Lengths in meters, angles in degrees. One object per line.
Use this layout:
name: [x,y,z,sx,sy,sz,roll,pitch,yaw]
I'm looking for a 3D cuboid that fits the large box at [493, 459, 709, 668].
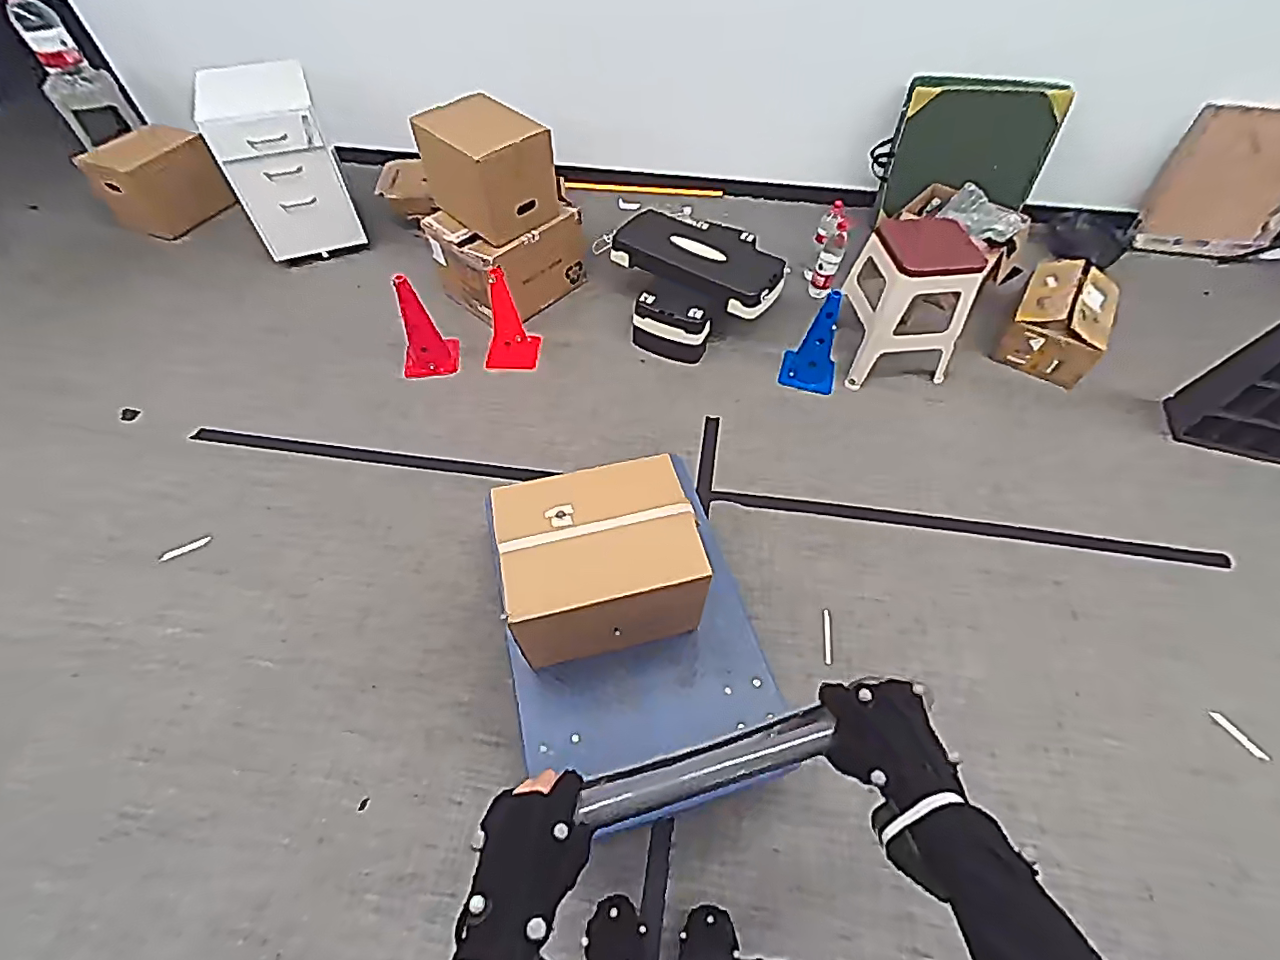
large box: [-0.089,0.198,1.251,0.408,0.320,0.320,-12,56,-8]
